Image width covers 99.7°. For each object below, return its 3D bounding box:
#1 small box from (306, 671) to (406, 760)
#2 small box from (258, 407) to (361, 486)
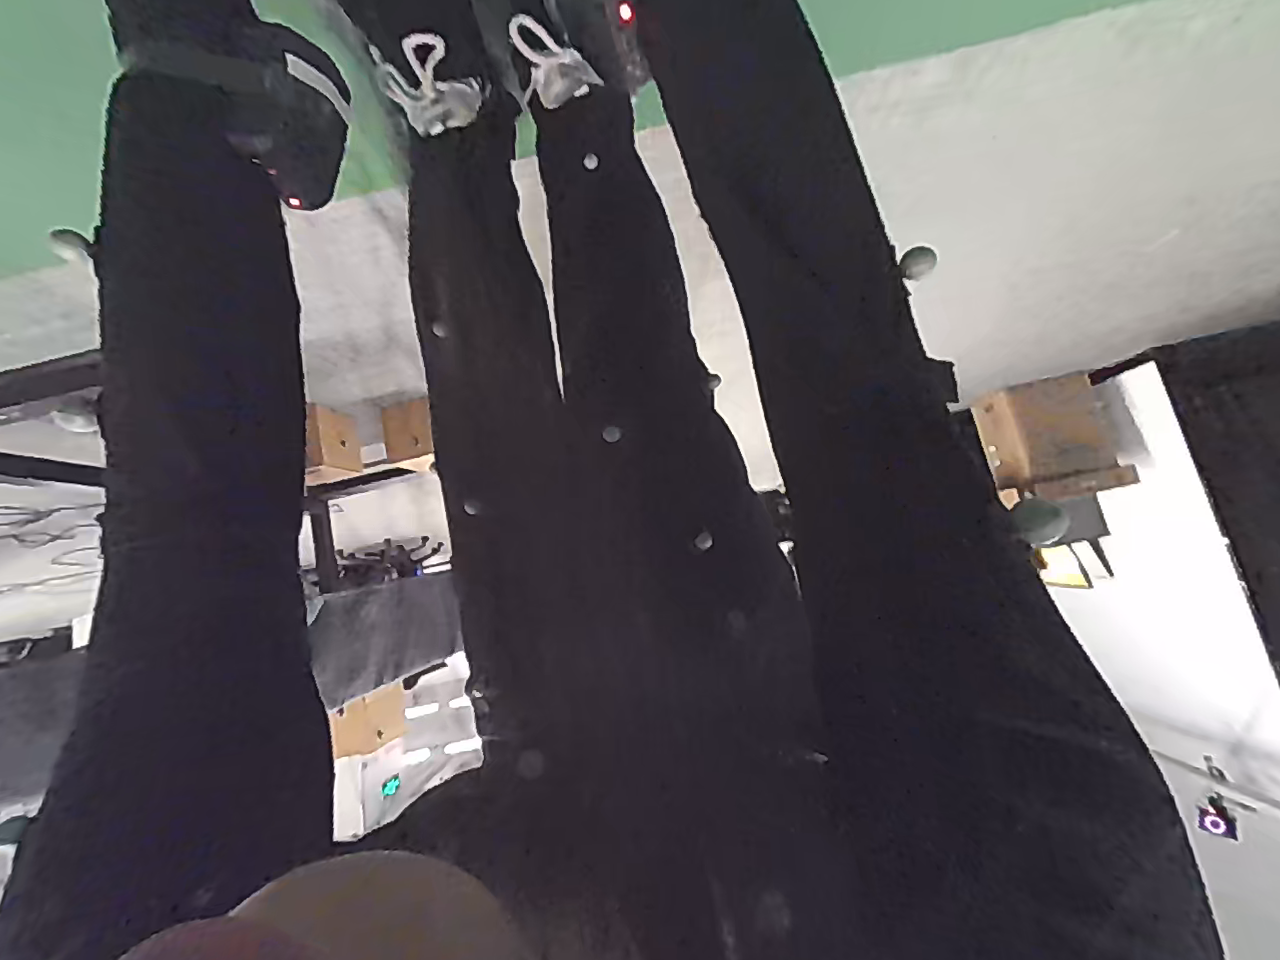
[{"bbox_3d":[-0.755,0.623,1.444,0.168,0.176,0.179,-13,172,6],"label":"small box"},{"bbox_3d":[-0.894,-0.092,1.465,0.168,0.176,0.179,-13,174,4],"label":"small box"}]
